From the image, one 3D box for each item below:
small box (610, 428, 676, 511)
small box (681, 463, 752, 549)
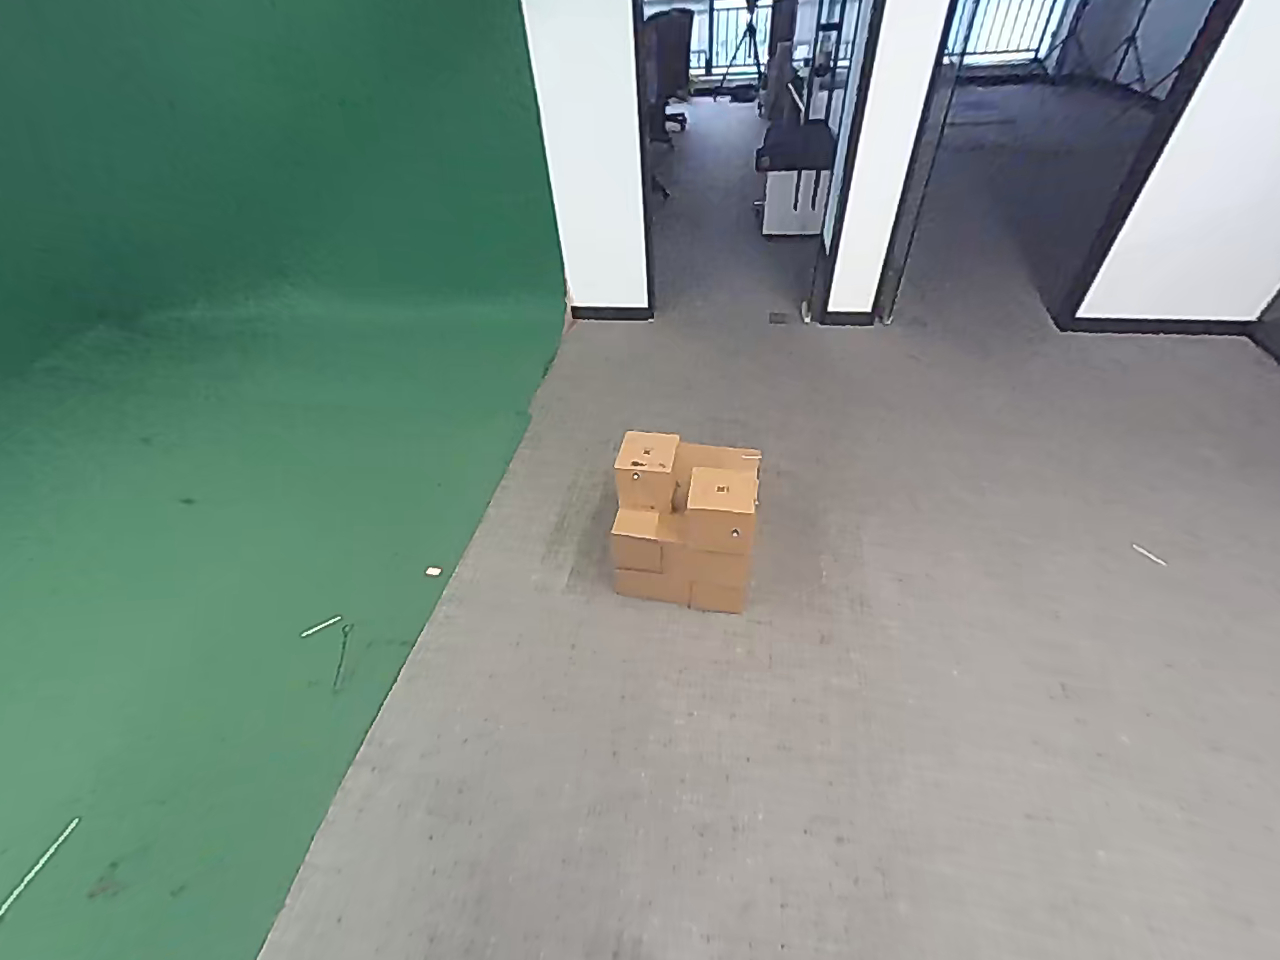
[{"bbox_3d":[0.014,-0.033,1.628,0.168,0.176,0.179,6,43,11],"label":"small box"},{"bbox_3d":[0.210,0.075,1.497,0.179,0.176,0.168,5,43,9],"label":"small box"}]
